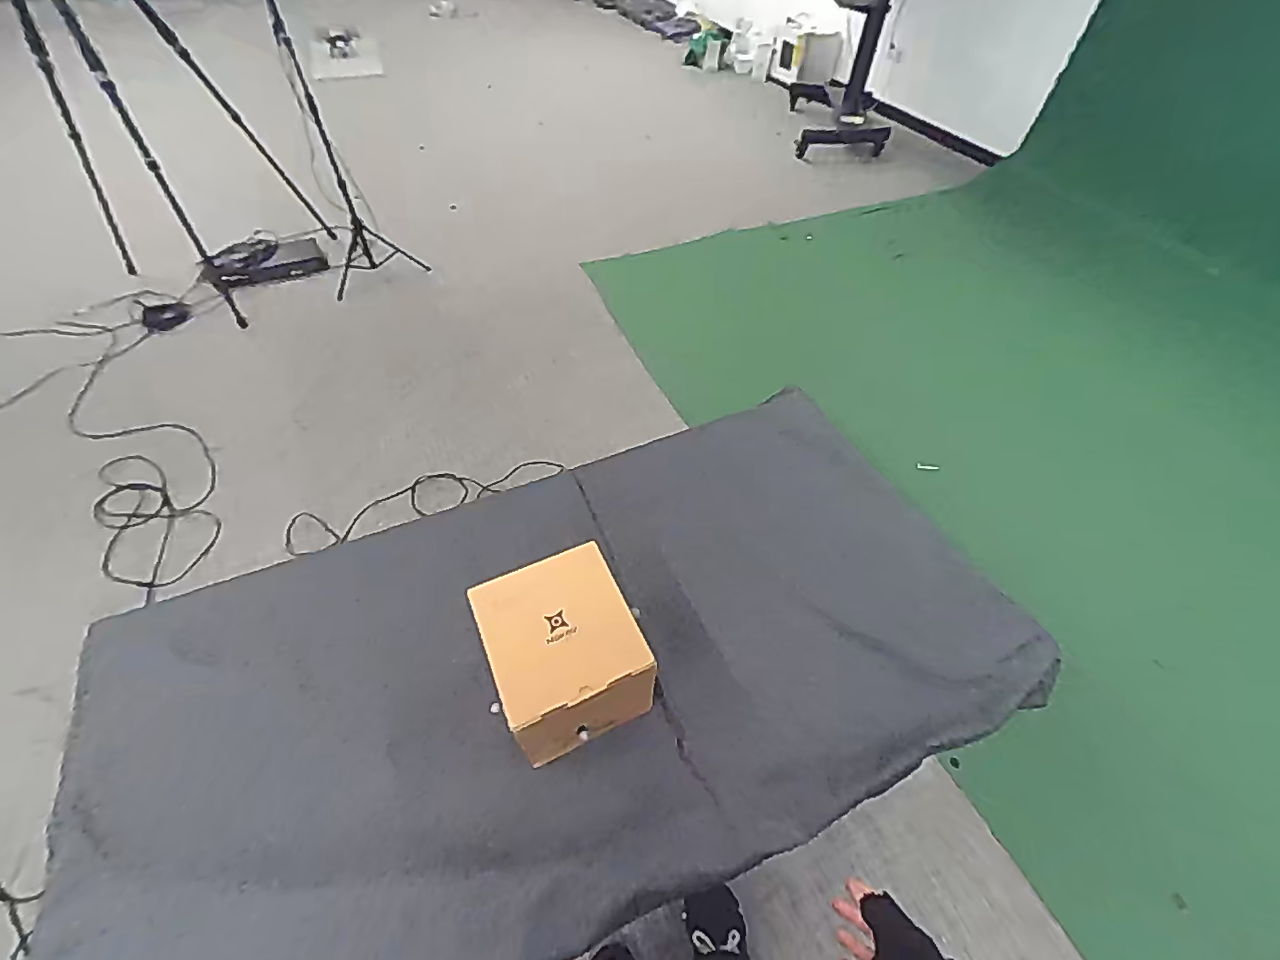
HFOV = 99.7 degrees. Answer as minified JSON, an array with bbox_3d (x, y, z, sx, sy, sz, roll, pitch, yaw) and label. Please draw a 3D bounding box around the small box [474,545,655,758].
[{"bbox_3d":[-0.096,0.219,0.689,0.168,0.176,0.179,-20,56,-18],"label":"small box"}]
